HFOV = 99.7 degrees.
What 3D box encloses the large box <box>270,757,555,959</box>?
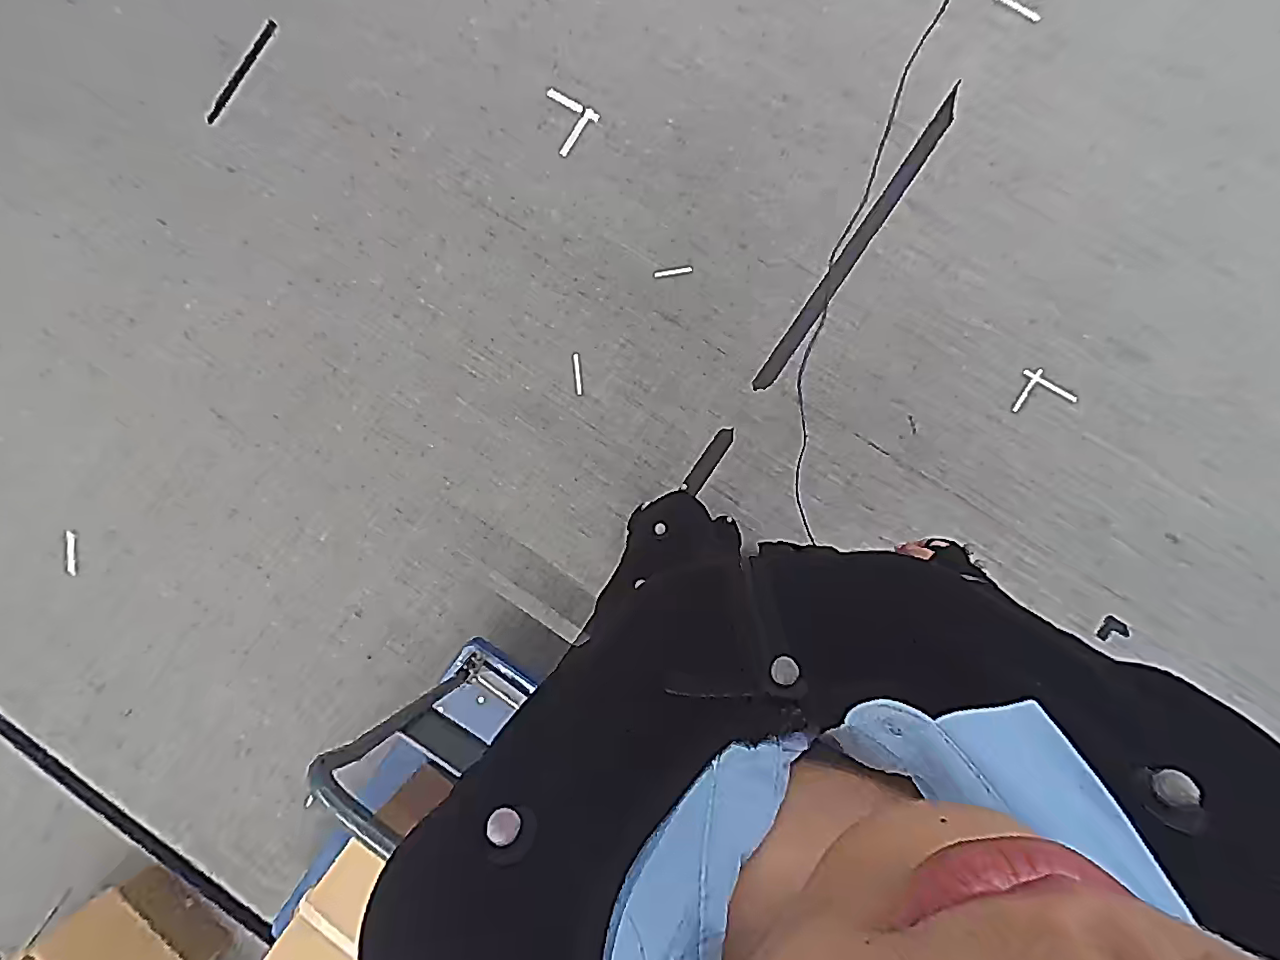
[{"bbox_3d":[-0.453,0.899,1.165,0.408,0.320,0.320,36,90,4],"label":"large box"}]
